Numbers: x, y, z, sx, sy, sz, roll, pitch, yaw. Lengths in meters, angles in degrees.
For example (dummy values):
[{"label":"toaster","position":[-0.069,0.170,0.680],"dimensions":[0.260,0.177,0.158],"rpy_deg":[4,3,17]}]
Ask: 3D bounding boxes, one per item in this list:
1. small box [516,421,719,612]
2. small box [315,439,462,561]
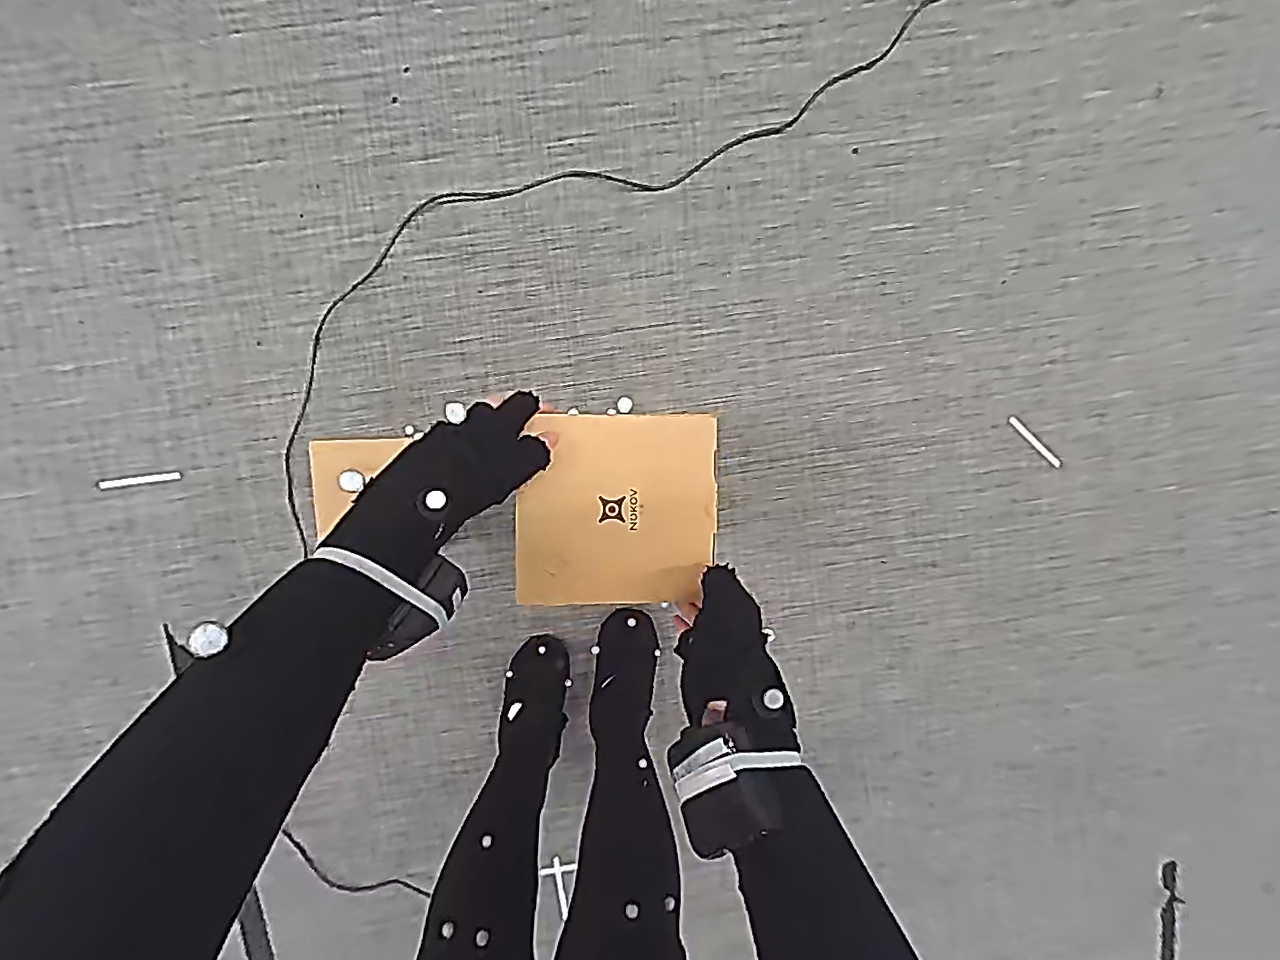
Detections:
[{"label":"small box","position":[-0.025,0.030,0.546],"dimensions":[0.179,0.176,0.168],"rpy_deg":[0,93,-5]},{"label":"small box","position":[-0.397,0.025,0.883],"dimensions":[0.168,0.176,0.179],"rpy_deg":[-1,96,-3]}]
